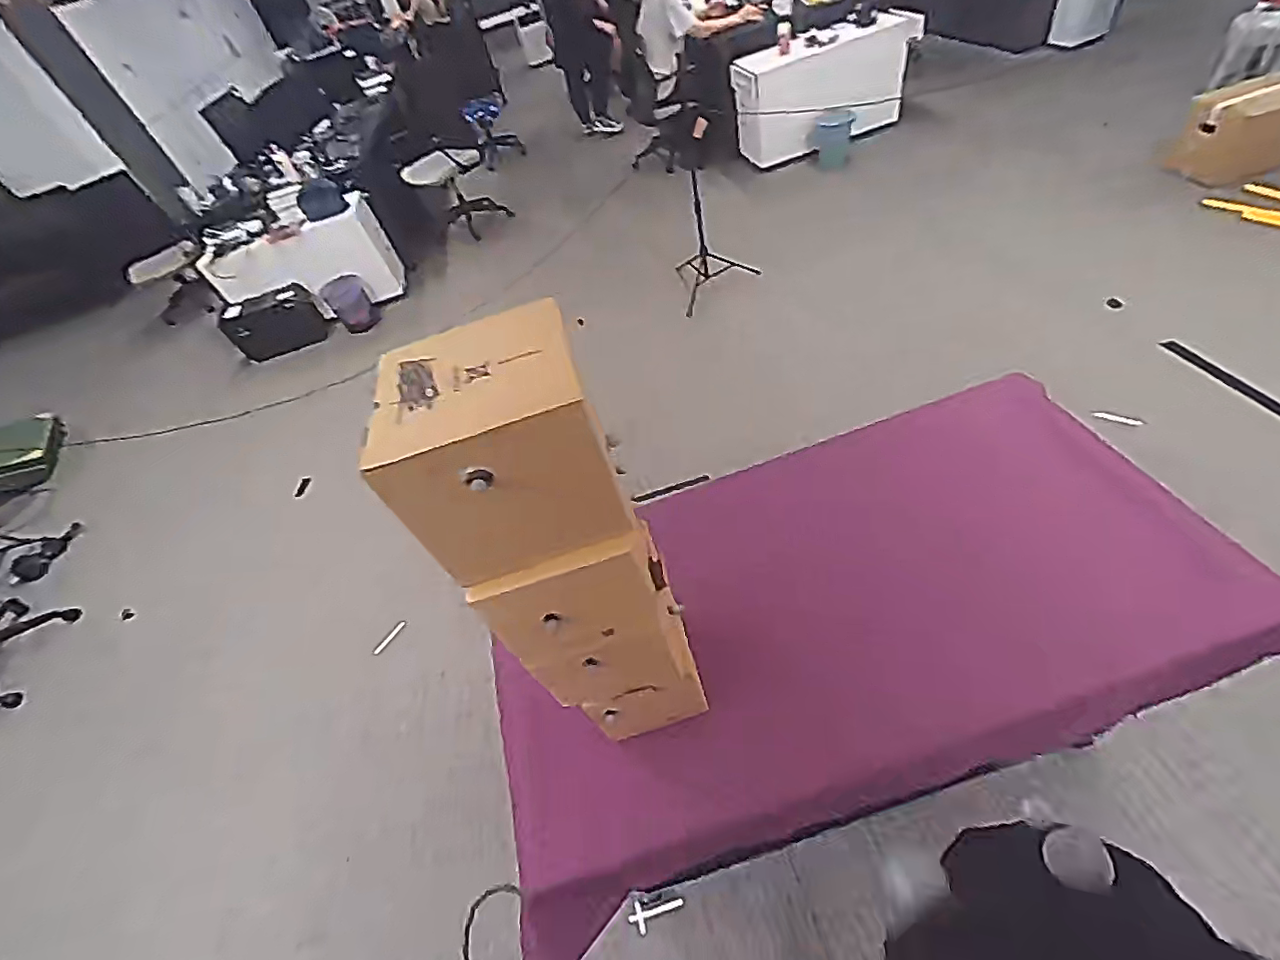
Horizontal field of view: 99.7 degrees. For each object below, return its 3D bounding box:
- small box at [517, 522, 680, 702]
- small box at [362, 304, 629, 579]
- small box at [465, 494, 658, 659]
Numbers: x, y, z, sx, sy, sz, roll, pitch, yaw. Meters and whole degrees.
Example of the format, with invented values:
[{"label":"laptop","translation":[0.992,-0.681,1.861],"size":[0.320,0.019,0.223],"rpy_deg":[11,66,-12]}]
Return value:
[{"label":"small box","translation":[-0.053,0.187,0.746],"size":[0.179,0.176,0.168],"rpy_deg":[-13,48,5]},{"label":"small box","translation":[-0.126,-0.032,0.513],"size":[0.179,0.176,0.168],"rpy_deg":[-19,47,0]},{"label":"small box","translation":[-0.087,0.085,0.623],"size":[0.168,0.176,0.179],"rpy_deg":[-18,46,1]}]
